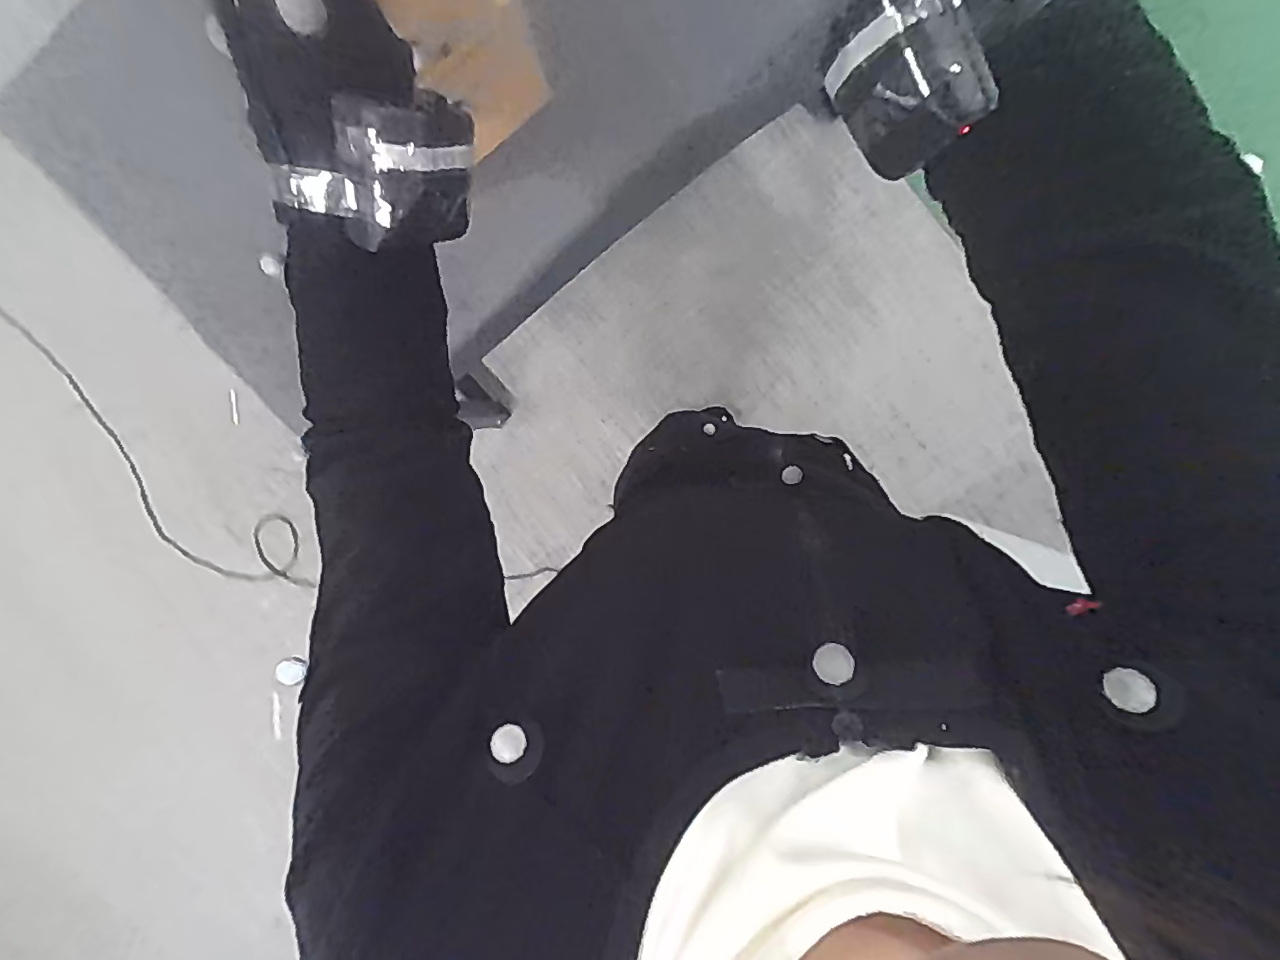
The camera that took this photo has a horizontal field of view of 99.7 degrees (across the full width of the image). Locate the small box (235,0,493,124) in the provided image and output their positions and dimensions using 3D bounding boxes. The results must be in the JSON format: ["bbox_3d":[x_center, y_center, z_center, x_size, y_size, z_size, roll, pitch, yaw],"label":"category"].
[{"bbox_3d":[-0.249,-0.432,0.416,0.168,0.176,0.179,-40,92,7],"label":"small box"}]

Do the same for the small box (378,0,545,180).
[{"bbox_3d":[-0.228,-0.465,0.576,0.179,0.176,0.168,-36,94,8],"label":"small box"}]
